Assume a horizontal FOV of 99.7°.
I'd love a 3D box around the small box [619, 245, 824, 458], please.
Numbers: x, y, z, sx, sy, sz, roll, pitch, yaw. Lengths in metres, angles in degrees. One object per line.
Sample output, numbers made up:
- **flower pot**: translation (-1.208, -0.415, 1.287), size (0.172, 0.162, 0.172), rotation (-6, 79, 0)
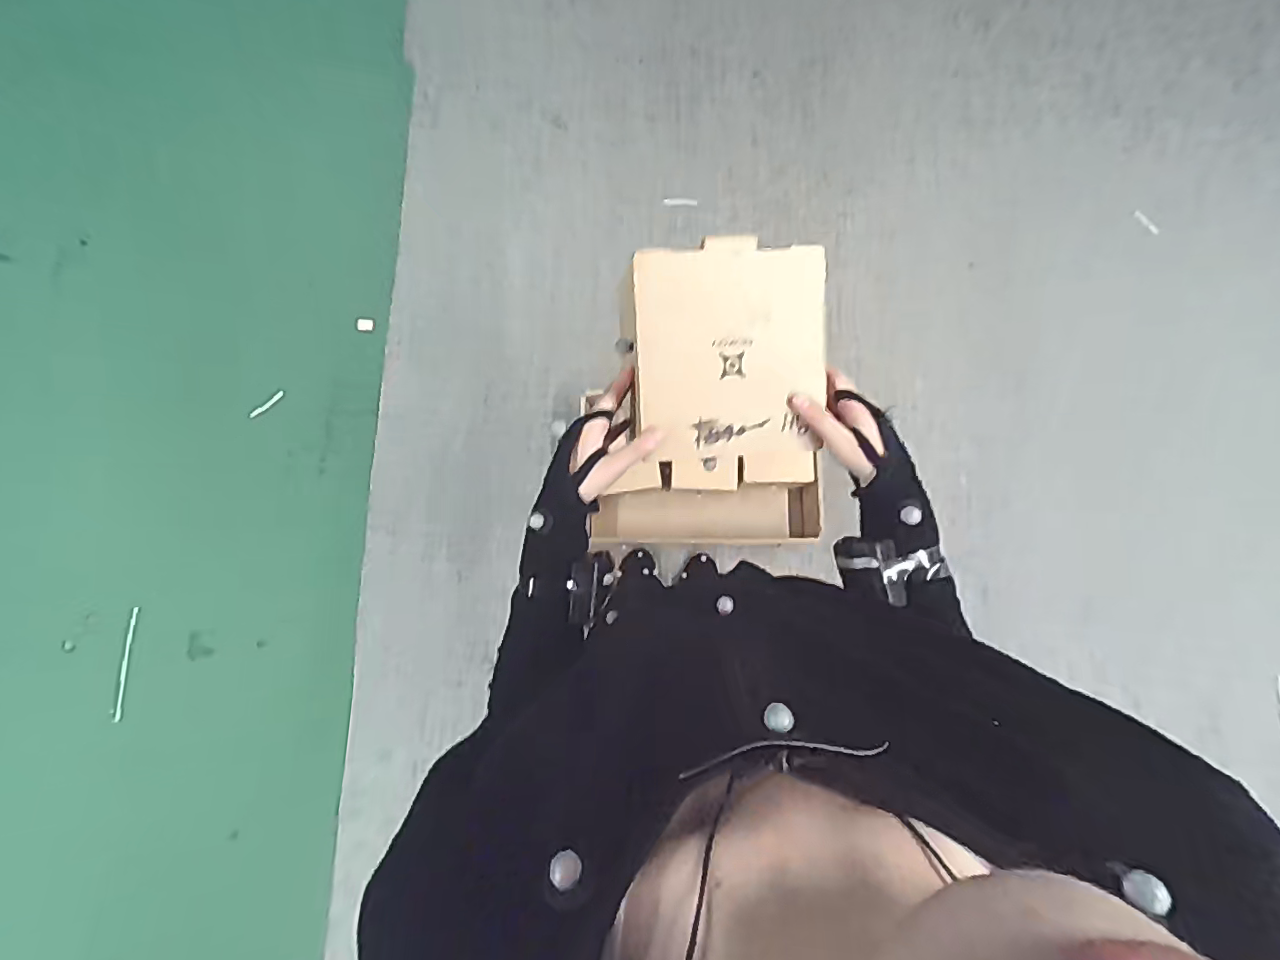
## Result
- **small box**: translation (0.069, -0.118, 0.541), size (0.168, 0.176, 0.179), rotation (-4, 98, -5)
